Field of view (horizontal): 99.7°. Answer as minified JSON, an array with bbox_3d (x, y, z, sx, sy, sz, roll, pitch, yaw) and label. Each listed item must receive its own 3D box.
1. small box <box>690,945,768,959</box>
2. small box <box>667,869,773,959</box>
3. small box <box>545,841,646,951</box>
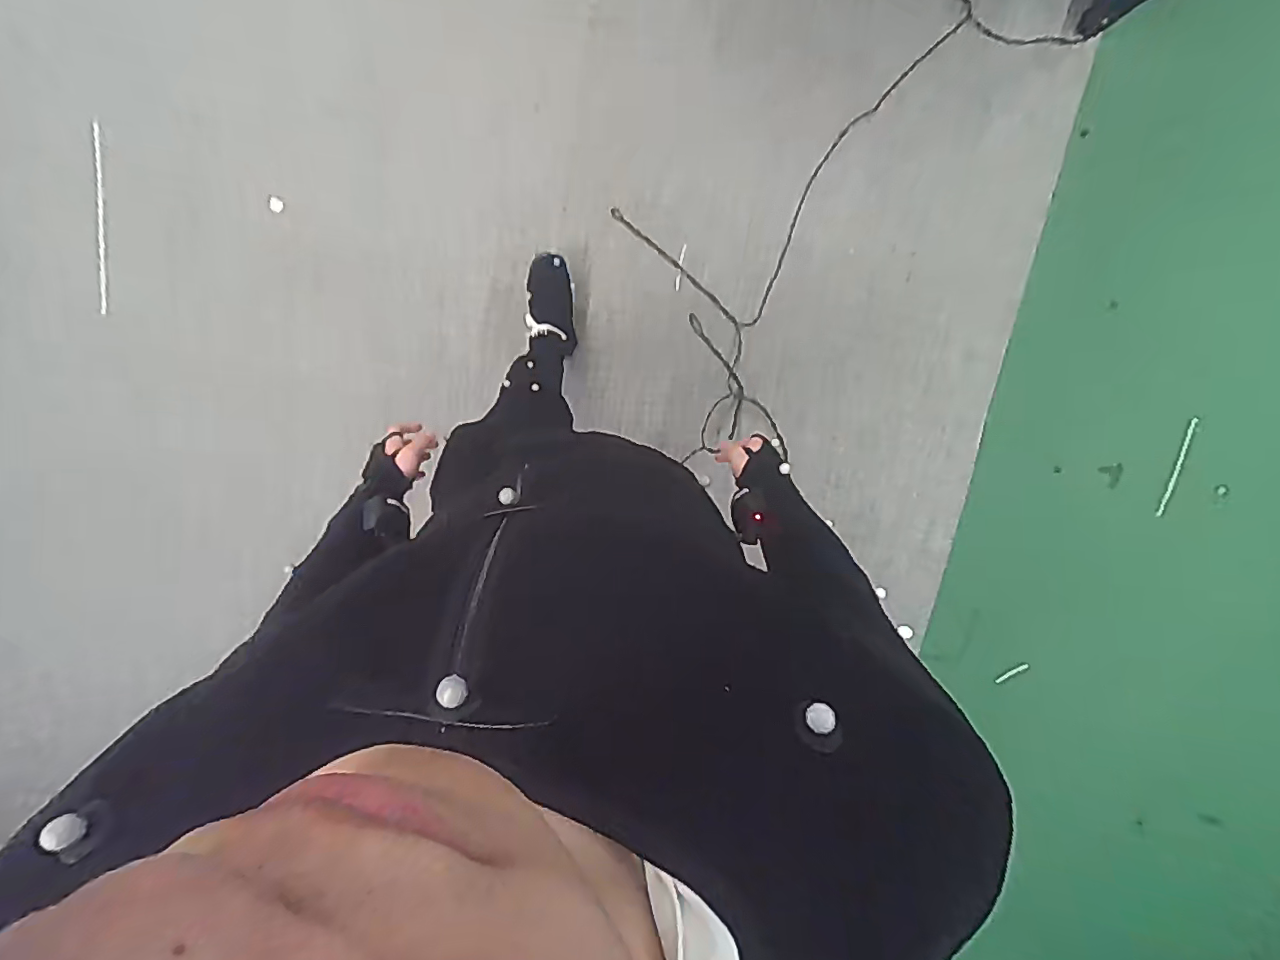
[{"bbox_3d":[0.162,0.998,0.969,0.168,0.176,0.179,14,100,-6],"label":"small box"},{"bbox_3d":[0.156,0.967,1.129,0.168,0.176,0.179,13,100,-6],"label":"small box"},{"bbox_3d":[-0.094,0.884,1.104,0.168,0.176,0.179,15,100,-5],"label":"small box"}]
